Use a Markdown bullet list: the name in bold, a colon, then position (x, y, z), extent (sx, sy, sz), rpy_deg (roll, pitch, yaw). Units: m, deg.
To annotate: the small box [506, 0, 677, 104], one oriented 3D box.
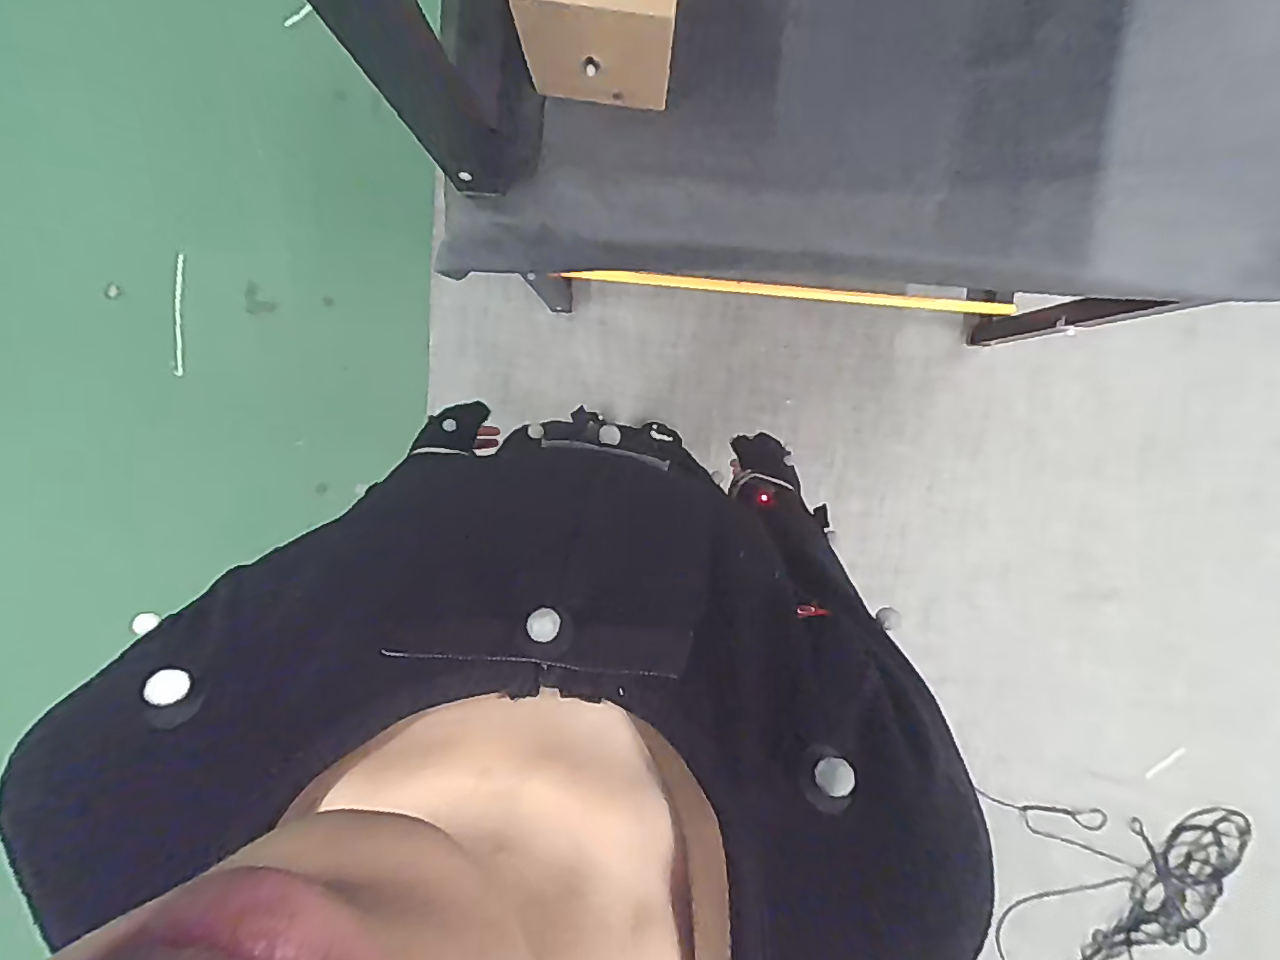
- **small box**: position (-0.040, -0.551, 0.588), extent (0.168, 0.176, 0.179), rpy_deg (7, 97, -2)
